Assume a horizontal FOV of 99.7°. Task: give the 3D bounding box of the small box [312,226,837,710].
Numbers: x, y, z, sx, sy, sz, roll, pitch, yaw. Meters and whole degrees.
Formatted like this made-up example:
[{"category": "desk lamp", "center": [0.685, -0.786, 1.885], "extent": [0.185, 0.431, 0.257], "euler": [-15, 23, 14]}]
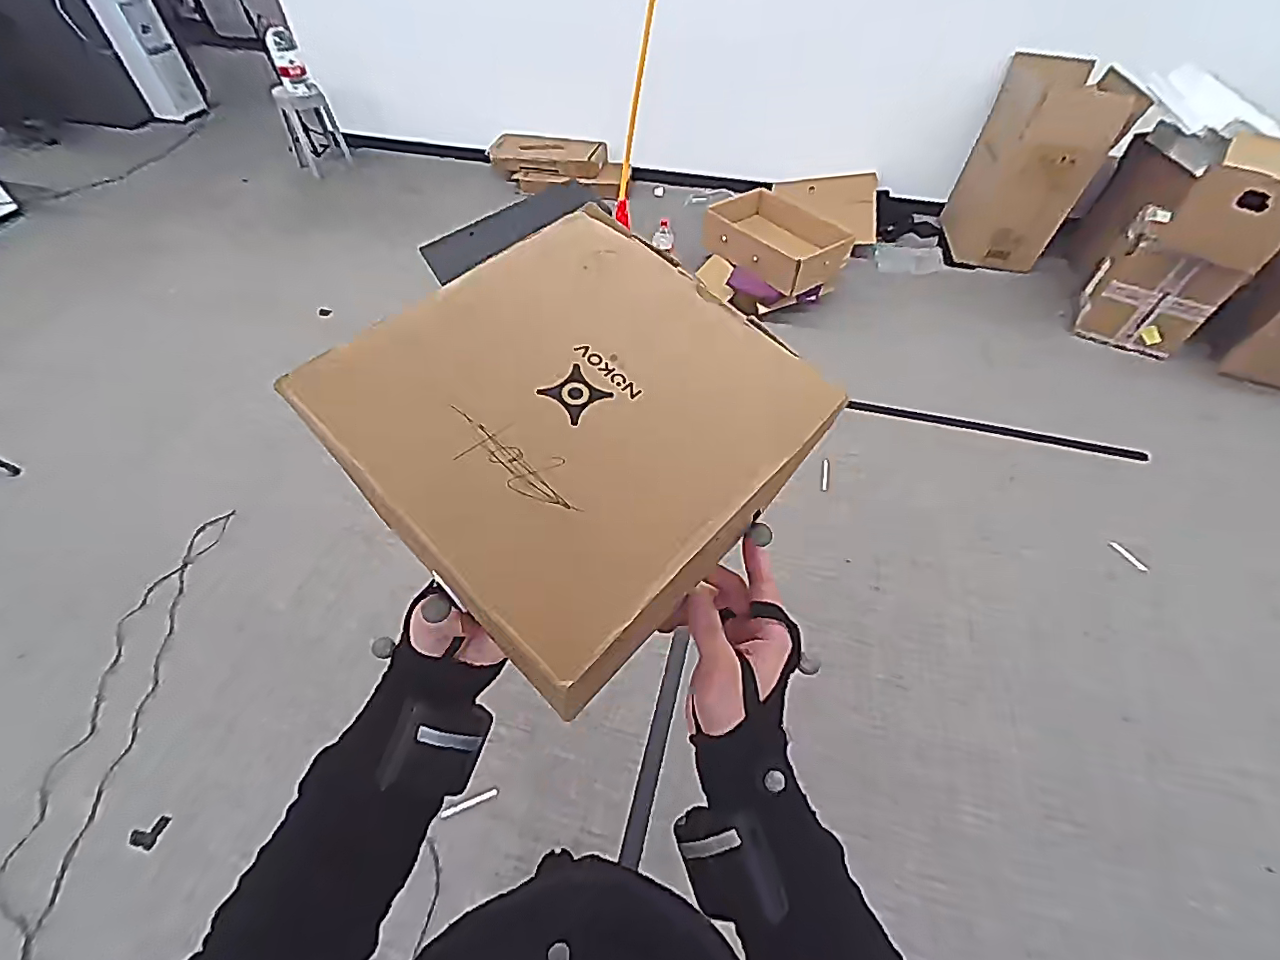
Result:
[{"category": "small box", "center": [-0.031, 0.003, 0.309], "extent": [0.168, 0.176, 0.179], "euler": [41, 66, 14]}]
